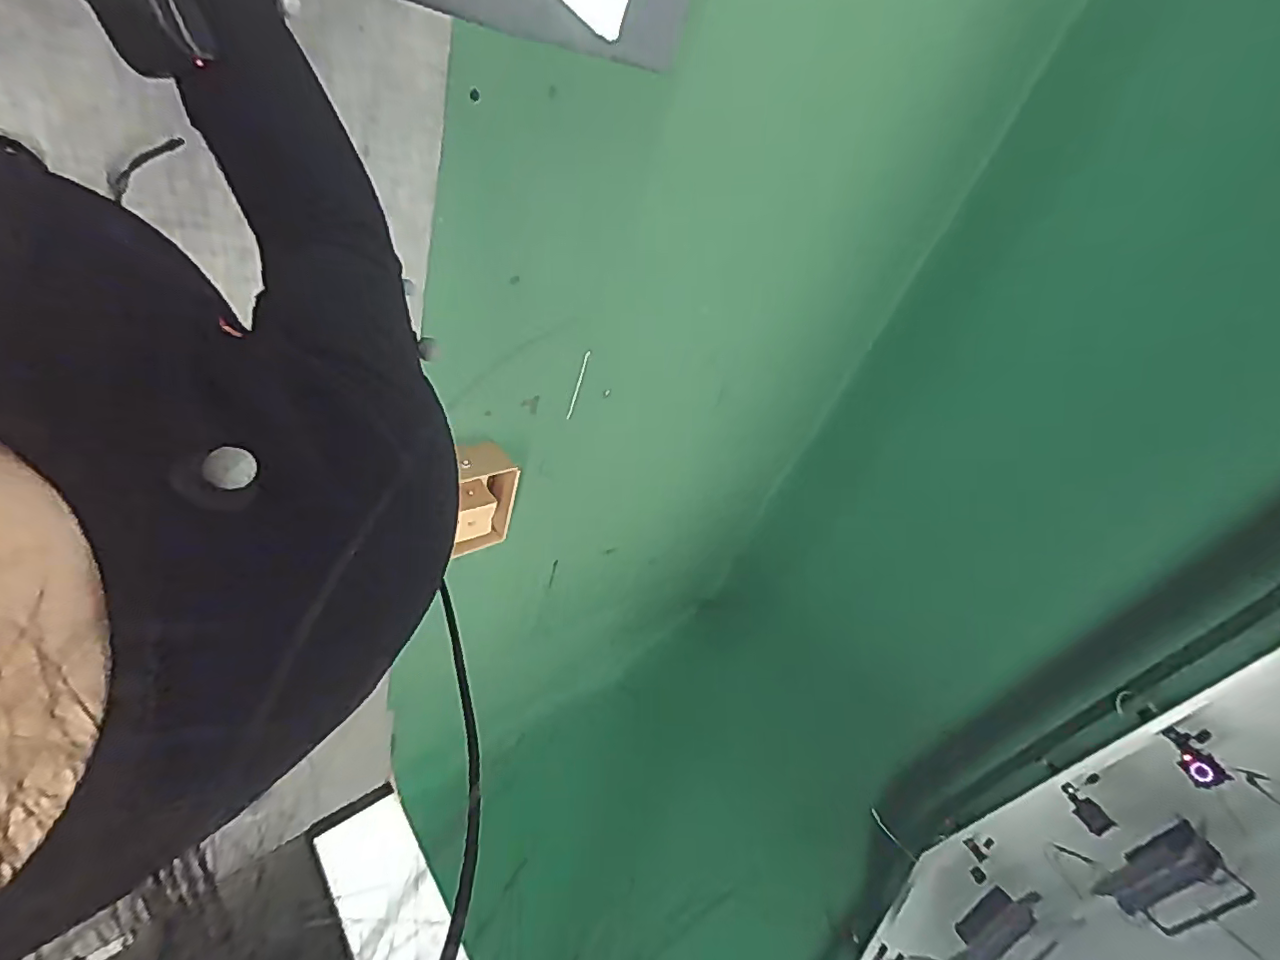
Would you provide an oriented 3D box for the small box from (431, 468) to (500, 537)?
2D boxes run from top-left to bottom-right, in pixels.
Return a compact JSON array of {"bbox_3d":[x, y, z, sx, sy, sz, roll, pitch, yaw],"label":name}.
[{"bbox_3d":[-0.645,0.077,1.992,0.179,0.176,0.168,-16,142,-40],"label":"small box"}]
